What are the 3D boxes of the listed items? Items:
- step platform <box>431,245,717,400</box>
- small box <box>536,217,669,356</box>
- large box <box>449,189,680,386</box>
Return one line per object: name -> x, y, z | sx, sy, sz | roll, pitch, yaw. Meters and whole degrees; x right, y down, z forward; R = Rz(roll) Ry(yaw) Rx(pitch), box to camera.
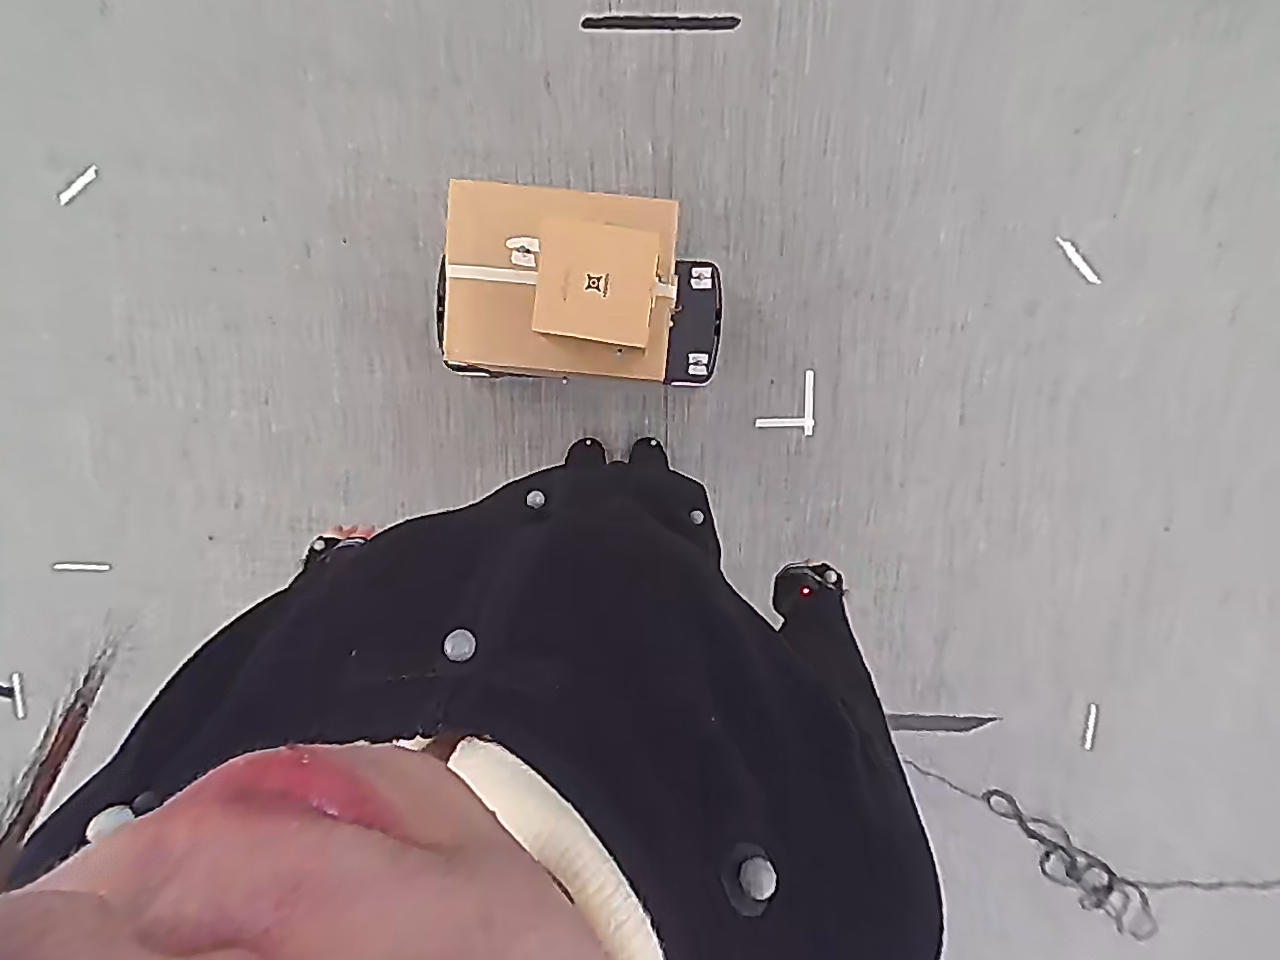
step platform -> -0.154, -0.380, 1.339 | 0.684, 0.204, 0.286 | 7, 97, 0
small box -> -0.055, -0.295, 0.862 | 0.179, 0.176, 0.168 | 9, 98, -1
large box -> -0.133, -0.360, 1.101 | 0.408, 0.320, 0.320 | 5, 97, 0
